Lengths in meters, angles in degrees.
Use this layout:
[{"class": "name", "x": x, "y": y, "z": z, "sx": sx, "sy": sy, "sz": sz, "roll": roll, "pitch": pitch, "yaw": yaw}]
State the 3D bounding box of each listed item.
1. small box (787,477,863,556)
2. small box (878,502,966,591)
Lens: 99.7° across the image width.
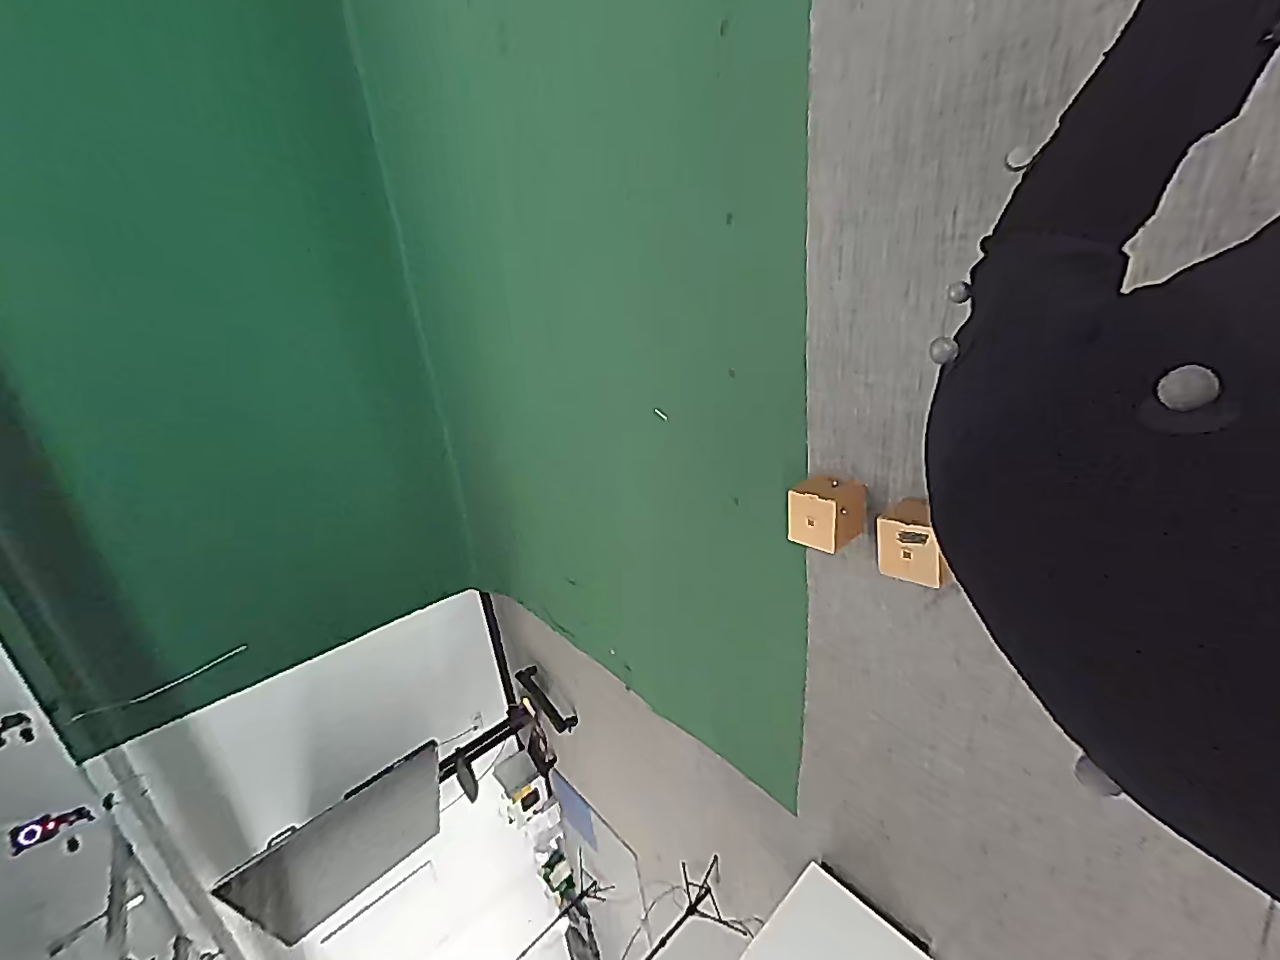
[{"class": "small box", "x": 0.579, "y": 0.108, "z": 1.691, "sx": 0.168, "sy": 0.176, "sz": 0.179, "roll": 16, "pitch": 119, "yaw": 46}, {"class": "small box", "x": 0.771, "y": 0.173, "z": 1.480, "sx": 0.168, "sy": 0.176, "sz": 0.179, "roll": 12, "pitch": 116, "yaw": 49}]
